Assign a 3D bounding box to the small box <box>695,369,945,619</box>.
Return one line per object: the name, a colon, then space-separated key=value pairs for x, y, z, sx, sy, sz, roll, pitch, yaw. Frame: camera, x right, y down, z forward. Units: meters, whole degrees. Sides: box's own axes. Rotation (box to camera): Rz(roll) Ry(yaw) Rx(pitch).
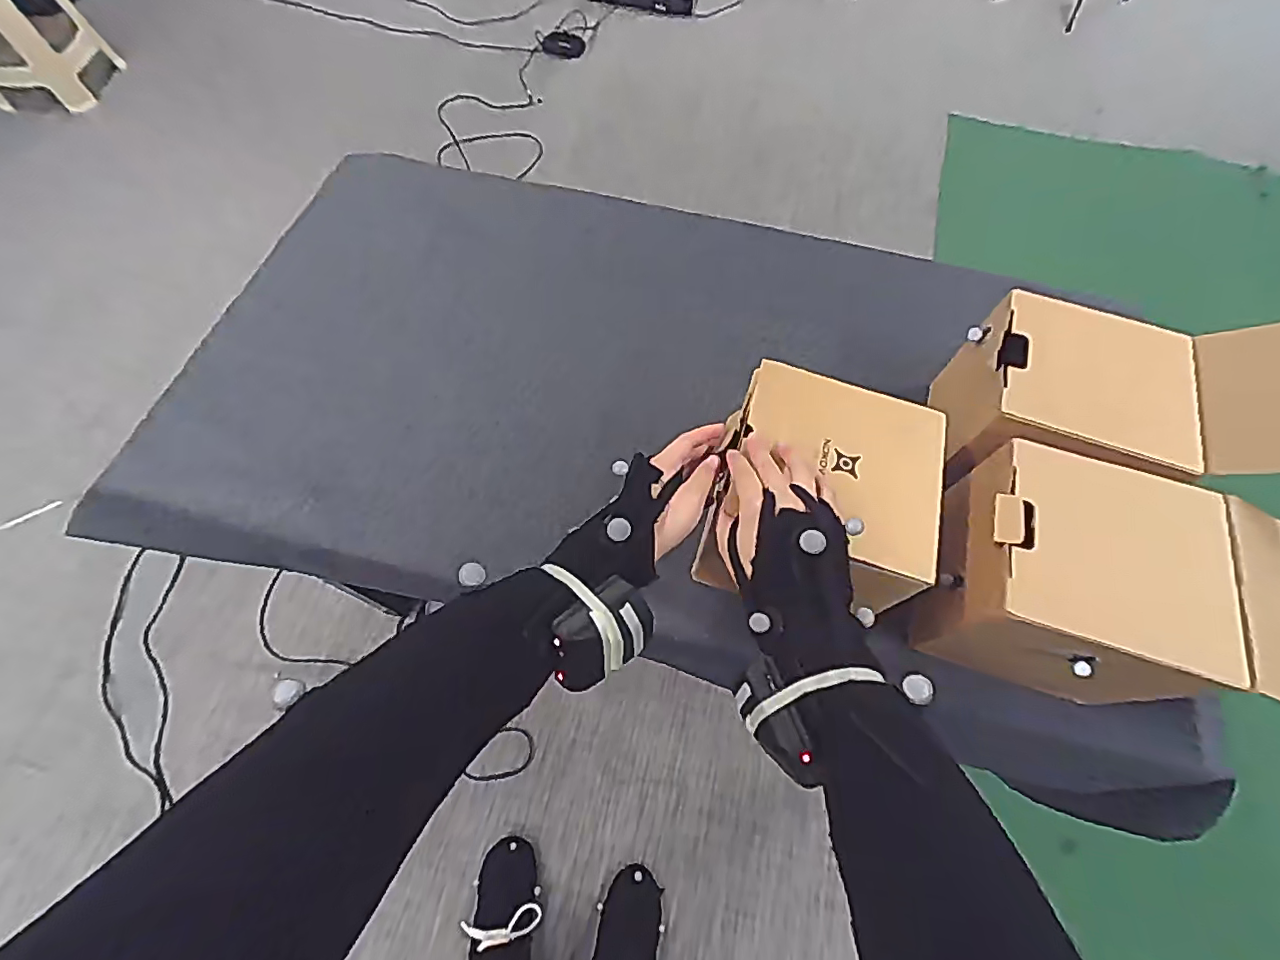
small box: x=0.163 y=0.024 z=0.527 sx=0.179 sy=0.176 sz=0.168 roll=16 pitch=65 yaw=7
